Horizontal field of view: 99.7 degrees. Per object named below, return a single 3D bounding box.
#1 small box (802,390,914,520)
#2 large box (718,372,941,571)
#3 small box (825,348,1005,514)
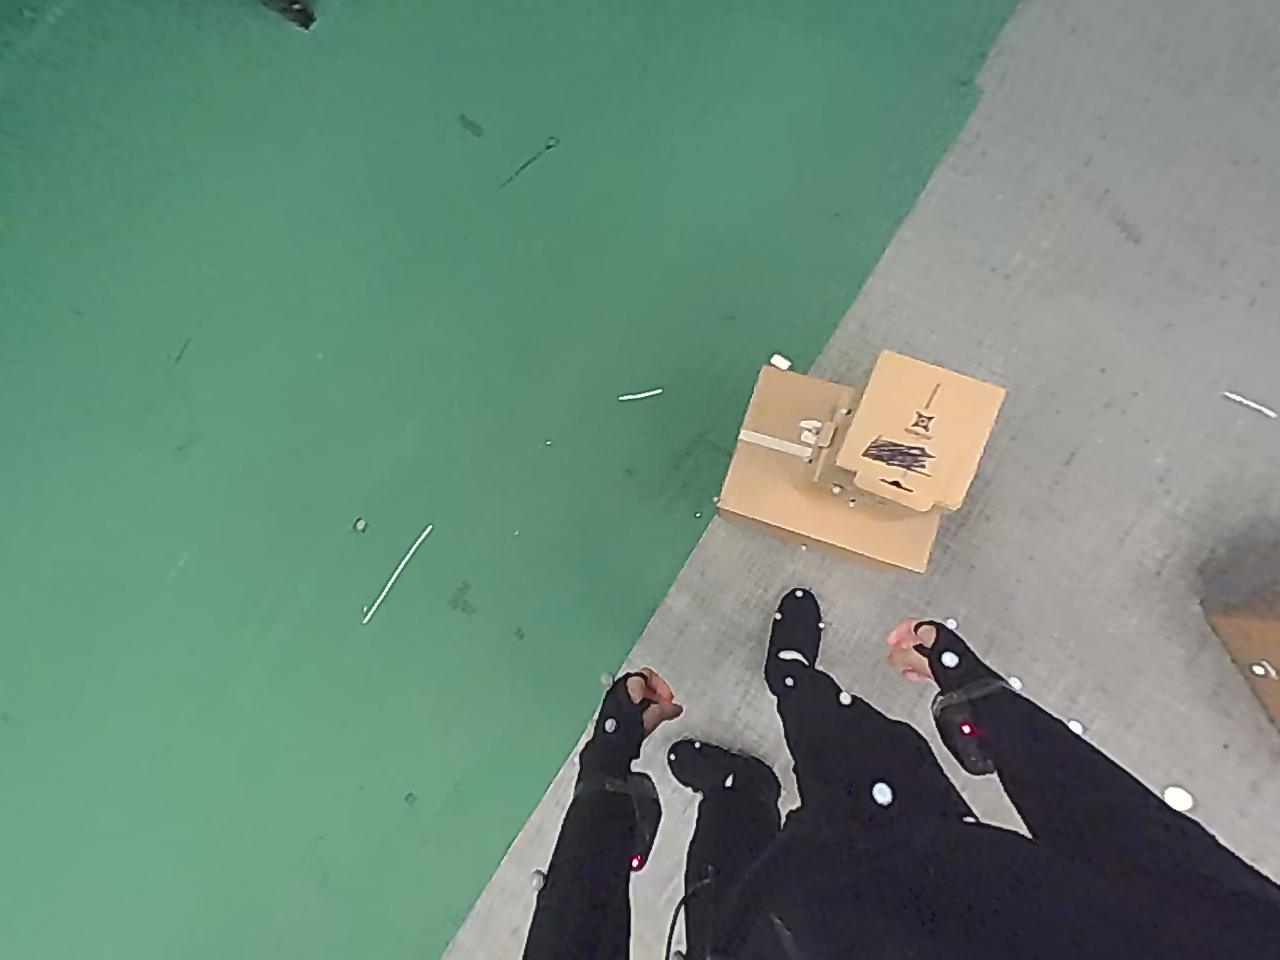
[{"bbox_3d":[0.402,-0.035,0.956,0.179,0.176,0.168,21,86,12],"label":"small box"},{"bbox_3d":[0.416,-0.003,1.200,0.408,0.320,0.320,18,83,13],"label":"large box"},{"bbox_3d":[0.385,-0.060,0.795,0.168,0.176,0.179,23,86,12],"label":"small box"}]
